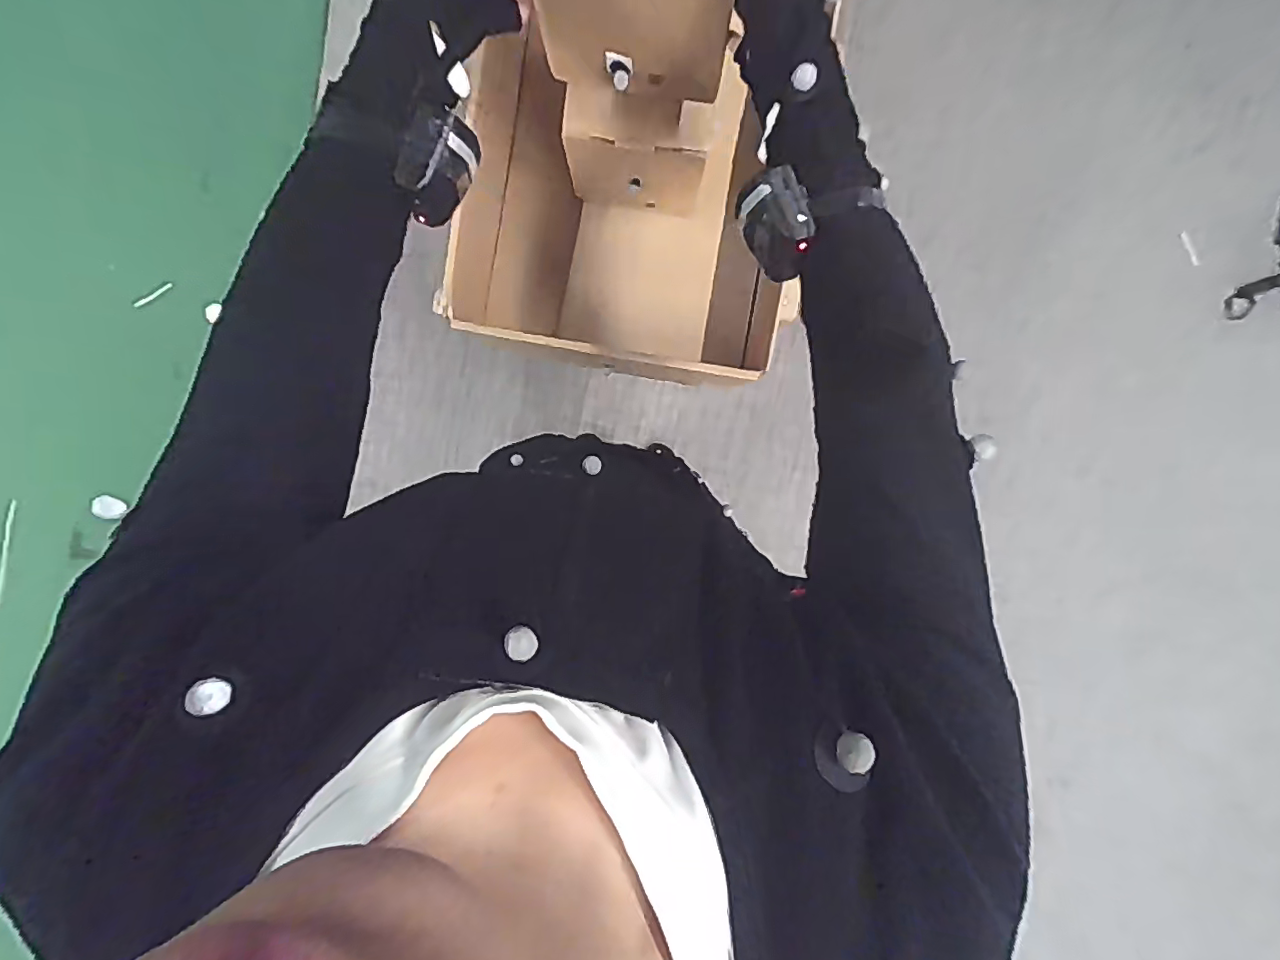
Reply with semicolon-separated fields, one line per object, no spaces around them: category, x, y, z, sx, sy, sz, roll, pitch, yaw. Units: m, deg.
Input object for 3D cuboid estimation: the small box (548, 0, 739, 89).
small box;0.009;-0.471;0.441;0.168;0.176;0.179;8;96;2
